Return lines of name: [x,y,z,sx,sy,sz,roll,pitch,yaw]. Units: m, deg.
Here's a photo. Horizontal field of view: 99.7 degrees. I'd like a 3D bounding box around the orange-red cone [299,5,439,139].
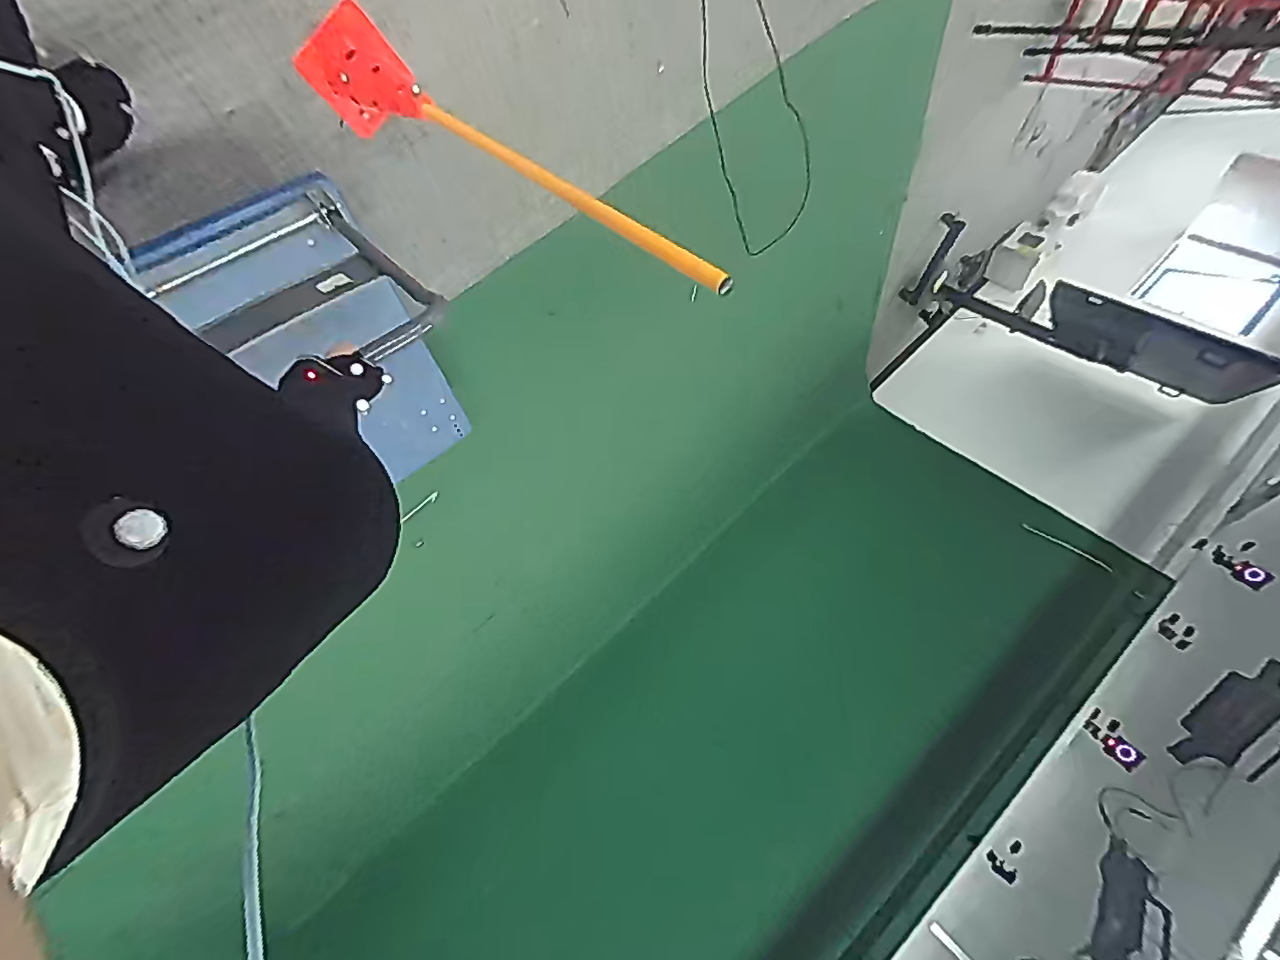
orange-red cone: [-0.533,-0.835,1.161,0.199,0.360,0.198,-50,151,0]
